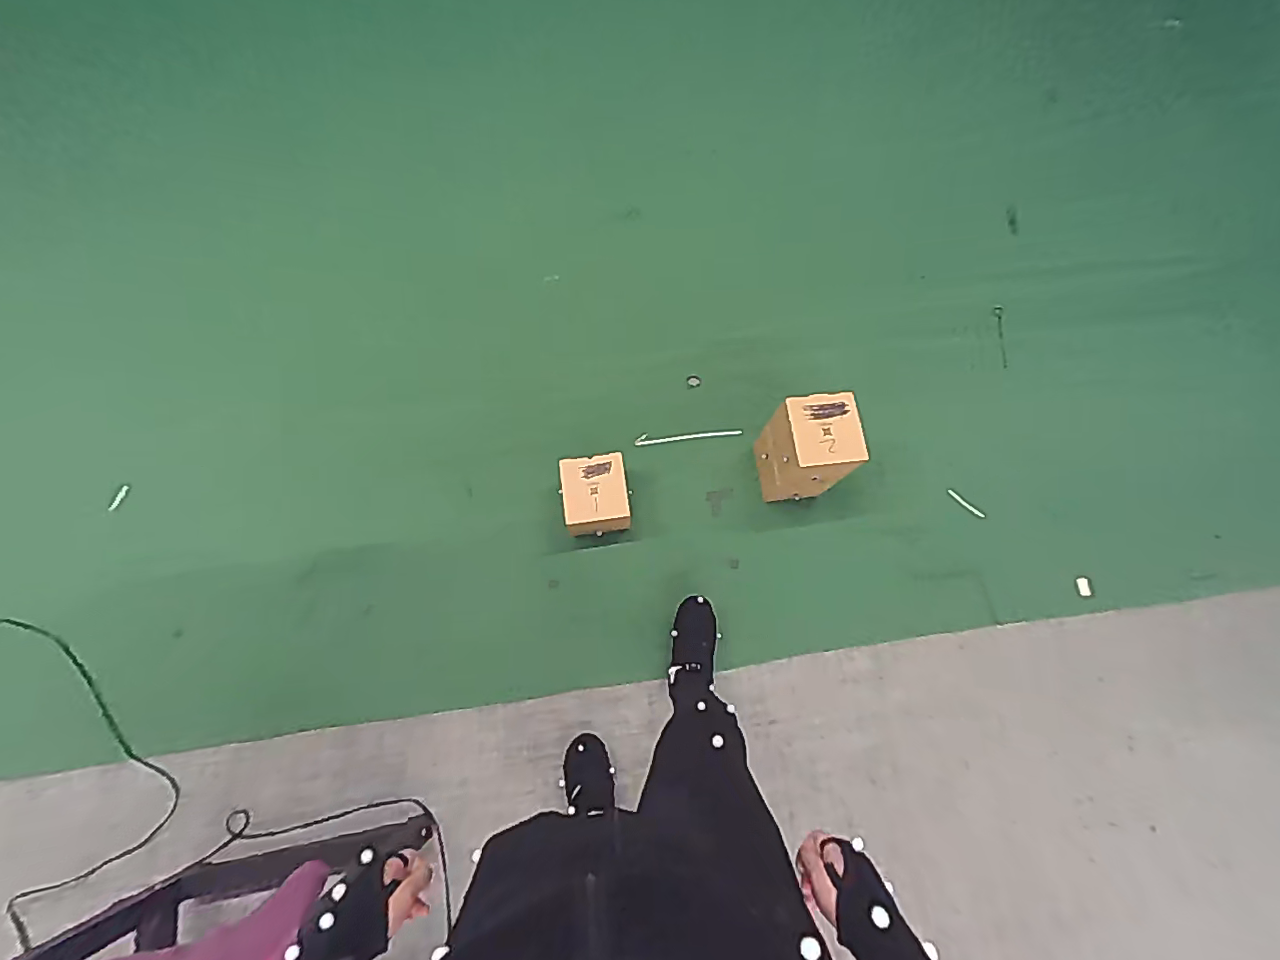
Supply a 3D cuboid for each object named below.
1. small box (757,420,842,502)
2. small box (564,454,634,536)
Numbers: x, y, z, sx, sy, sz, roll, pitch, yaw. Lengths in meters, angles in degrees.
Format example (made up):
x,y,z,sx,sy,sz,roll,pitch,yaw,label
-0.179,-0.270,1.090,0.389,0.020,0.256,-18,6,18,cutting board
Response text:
x,y,z,sx,sy,sz,roll,pitch,yaw,label
0.430,-0.049,1.489,0.168,0.176,0.179,-6,74,-2,small box
-0.109,0.045,1.456,0.168,0.176,0.179,-8,75,-2,small box
